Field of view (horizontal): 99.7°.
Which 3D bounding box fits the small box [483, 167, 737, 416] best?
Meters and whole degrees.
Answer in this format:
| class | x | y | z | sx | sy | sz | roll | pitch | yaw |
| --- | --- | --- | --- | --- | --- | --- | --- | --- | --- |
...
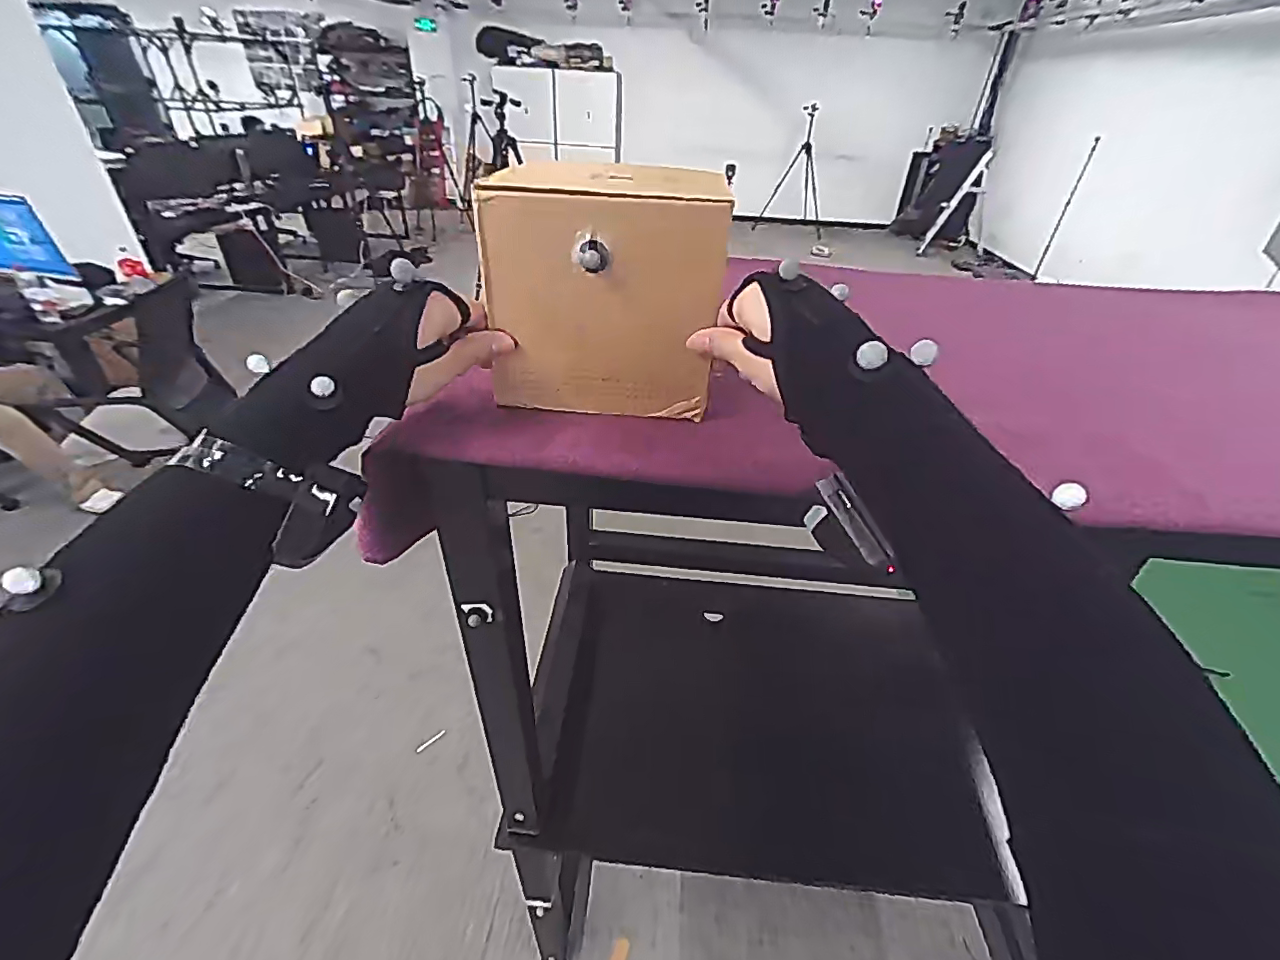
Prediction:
| class | x | y | z | sx | sy | sz | roll | pitch | yaw |
| --- | --- | --- | --- | --- | --- | --- | --- | --- | --- |
| small box | -0.017 | -0.167 | 0.469 | 0.179 | 0.176 | 0.168 | 5 | 35 | 2 |
